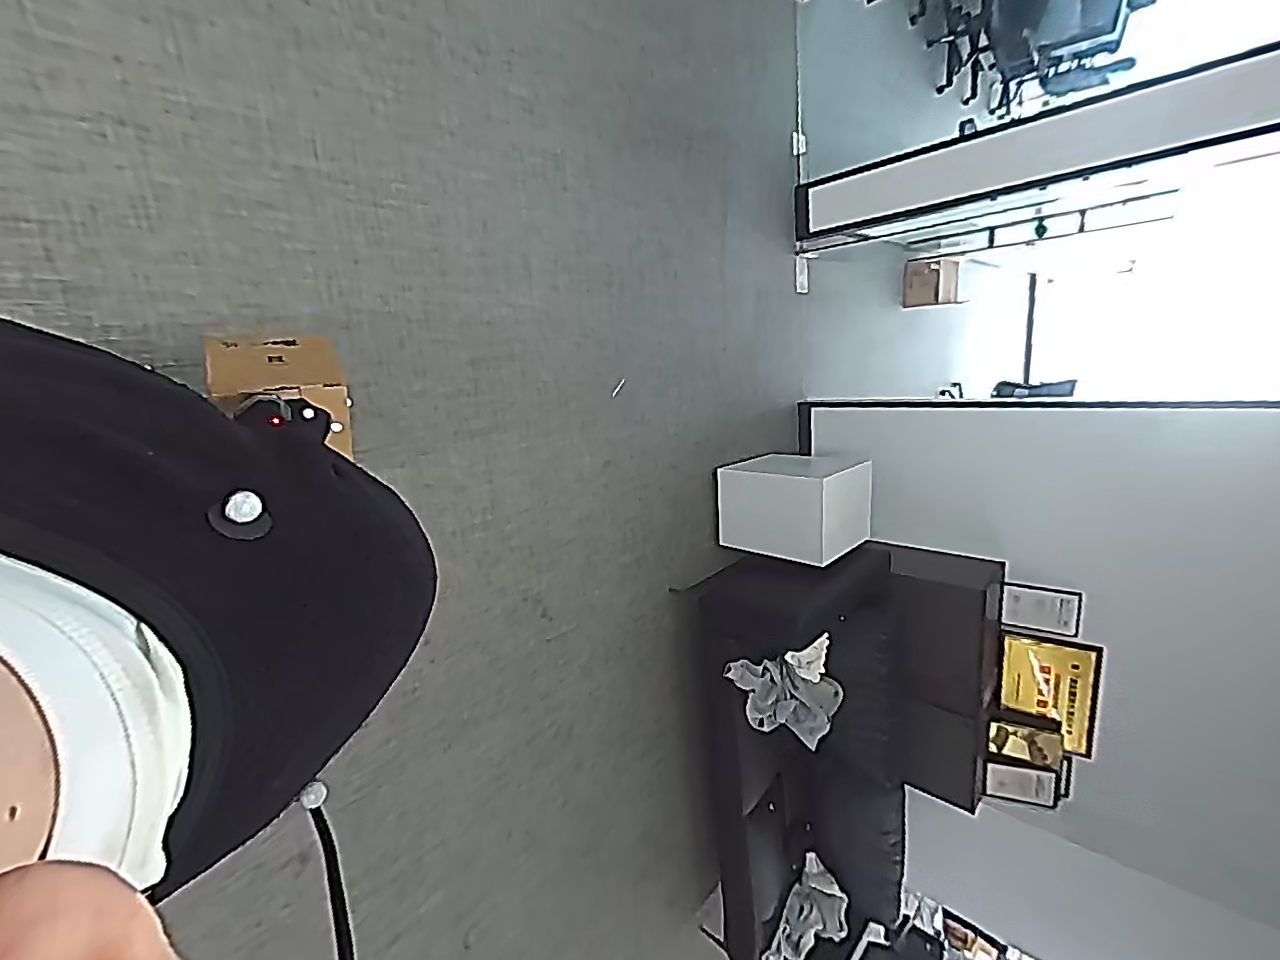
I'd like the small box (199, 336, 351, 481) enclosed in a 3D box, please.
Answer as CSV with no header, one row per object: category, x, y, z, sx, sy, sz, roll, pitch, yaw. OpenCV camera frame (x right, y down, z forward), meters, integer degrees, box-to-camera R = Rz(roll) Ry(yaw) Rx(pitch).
small box,-0.575,-0.112,0.862,0.168,0.179,0.176,-14,134,-34
